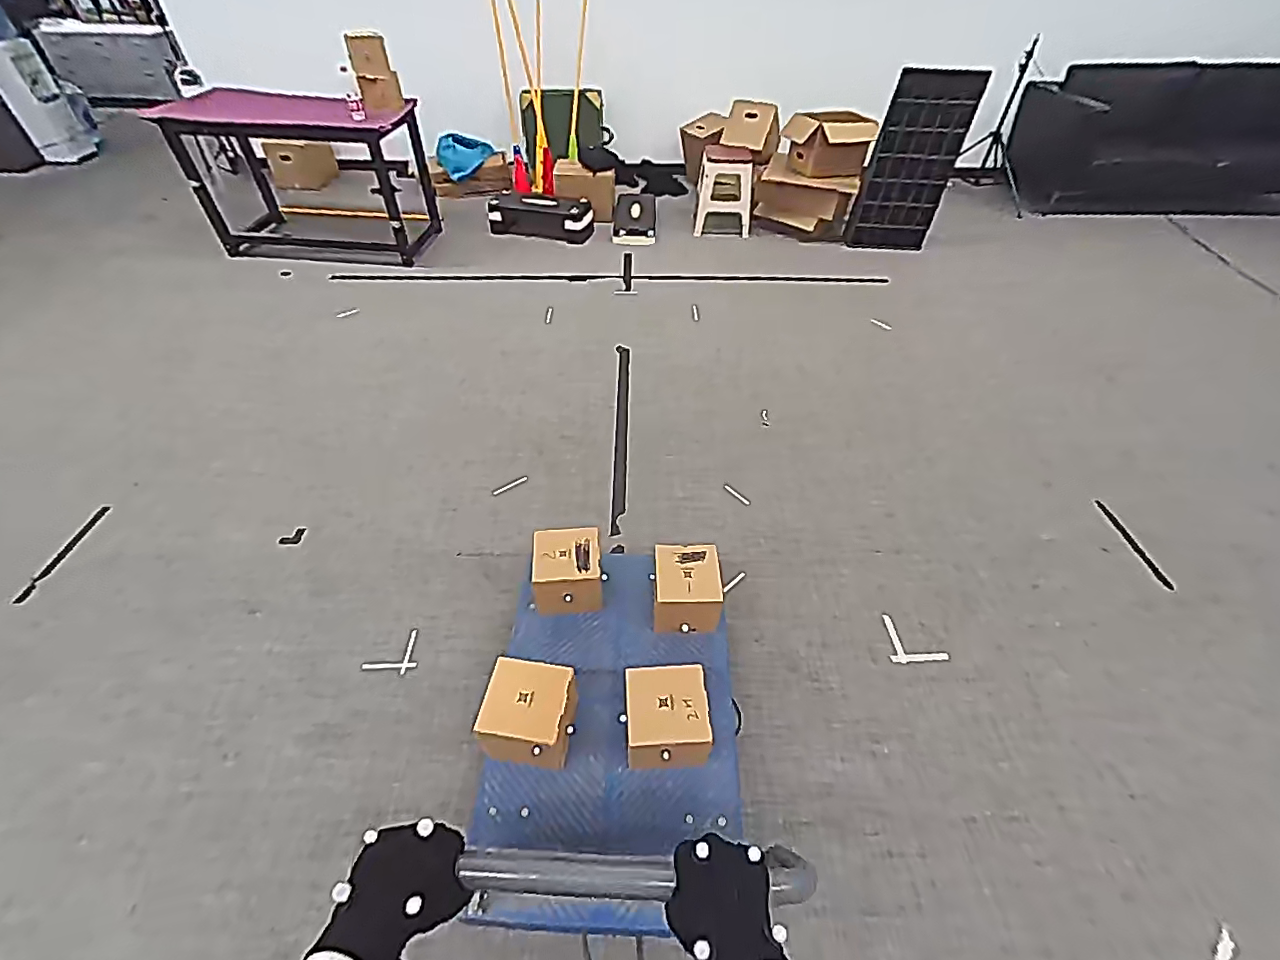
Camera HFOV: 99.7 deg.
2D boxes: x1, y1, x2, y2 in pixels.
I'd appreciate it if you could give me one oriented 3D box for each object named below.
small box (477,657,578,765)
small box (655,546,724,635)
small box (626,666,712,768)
[{"bbox_3d":[-0.245,0.526,1.226,0.179,0.176,0.168,8,46,4],"label":"small box"},{"bbox_3d":[0.126,0.297,1.452,0.168,0.176,0.179,0,47,-1],"label":"small box"},{"bbox_3d":[0.059,0.538,1.221,0.179,0.176,0.168,-2,46,-3],"label":"small box"}]
